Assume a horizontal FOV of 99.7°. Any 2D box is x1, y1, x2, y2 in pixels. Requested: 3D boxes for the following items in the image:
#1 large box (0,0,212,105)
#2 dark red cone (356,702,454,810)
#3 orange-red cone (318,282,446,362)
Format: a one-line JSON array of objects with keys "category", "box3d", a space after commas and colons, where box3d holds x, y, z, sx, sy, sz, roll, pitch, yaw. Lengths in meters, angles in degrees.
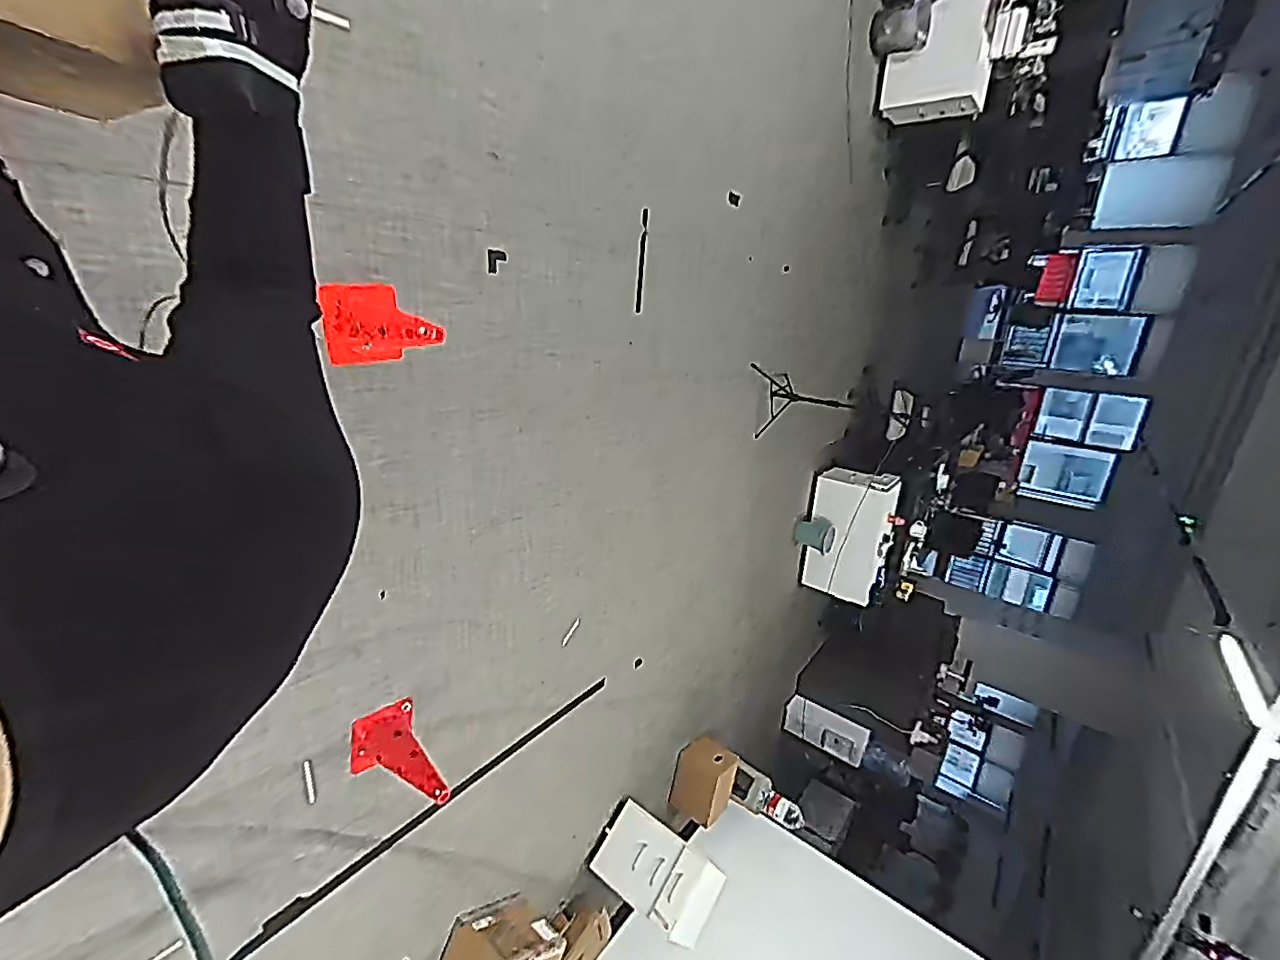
[{"category": "large box", "box3d": [-0.522, -0.451, 0.270, 0.408, 0.320, 0.320, -12, 118, -53]}, {"category": "dark red cone", "box3d": [-0.693, 0.874, 1.656, 0.201, 0.394, 0.202, -10, 112, -50]}, {"category": "orange-red cone", "box3d": [-0.593, -0.377, 1.316, 0.198, 0.360, 0.199, -23, 120, -48]}]
